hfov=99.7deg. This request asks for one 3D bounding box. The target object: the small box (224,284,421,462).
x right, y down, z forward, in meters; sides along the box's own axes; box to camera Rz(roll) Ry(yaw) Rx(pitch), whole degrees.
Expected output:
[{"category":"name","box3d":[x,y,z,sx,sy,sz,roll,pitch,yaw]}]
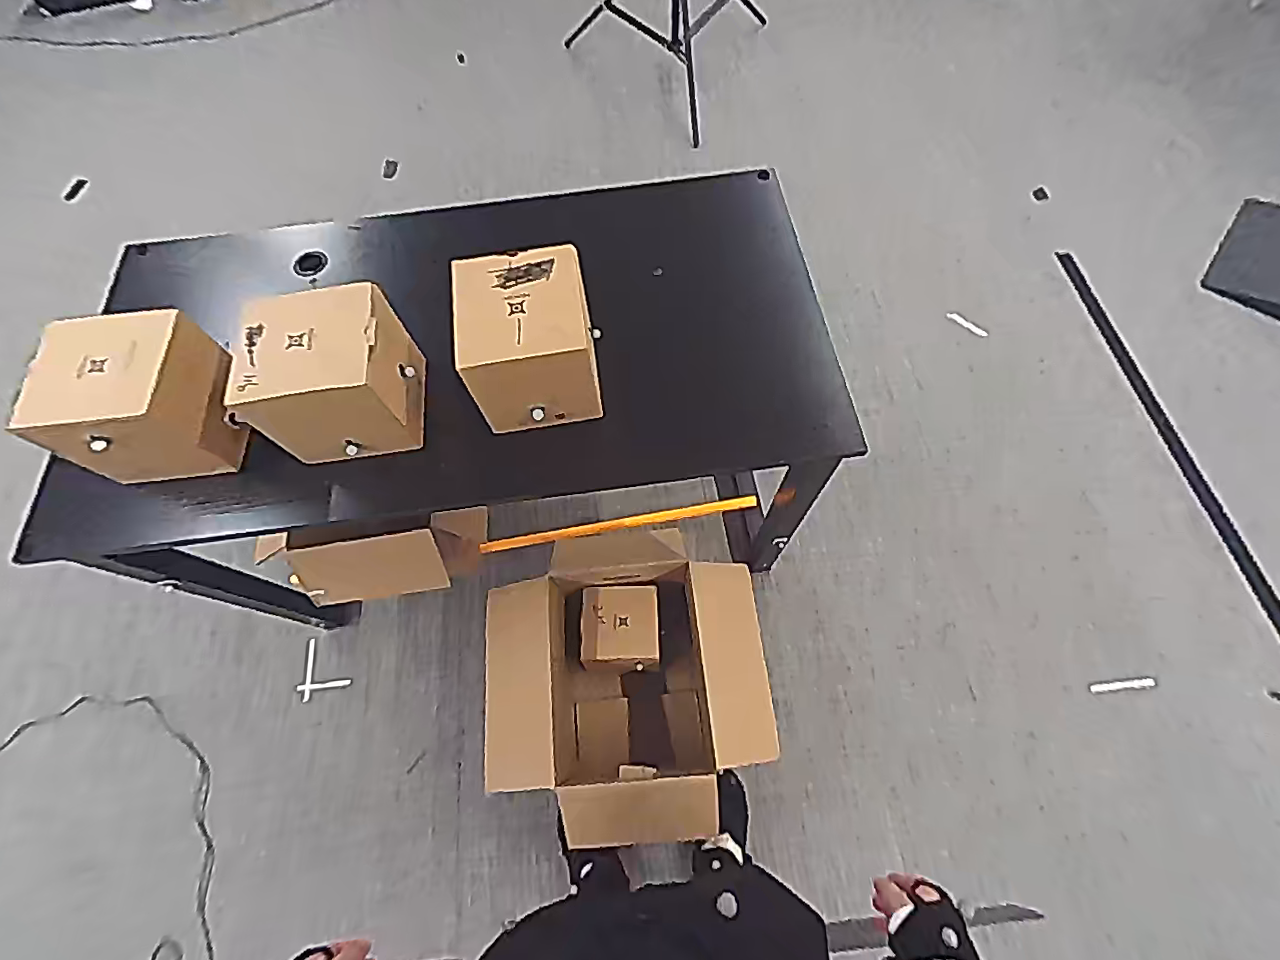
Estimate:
[{"category":"small box","box3d":[-0.418,-0.140,0.749,0.179,0.176,0.168,-8,66,-3]}]

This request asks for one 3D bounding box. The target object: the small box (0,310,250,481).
[{"category":"small box","box3d":[-0.679,-0.107,0.745,0.179,0.176,0.168,-5,66,-1]}]

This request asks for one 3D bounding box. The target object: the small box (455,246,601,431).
[{"category":"small box","box3d":[-0.151,-0.192,0.759,0.168,0.176,0.179,-9,66,-1]}]
